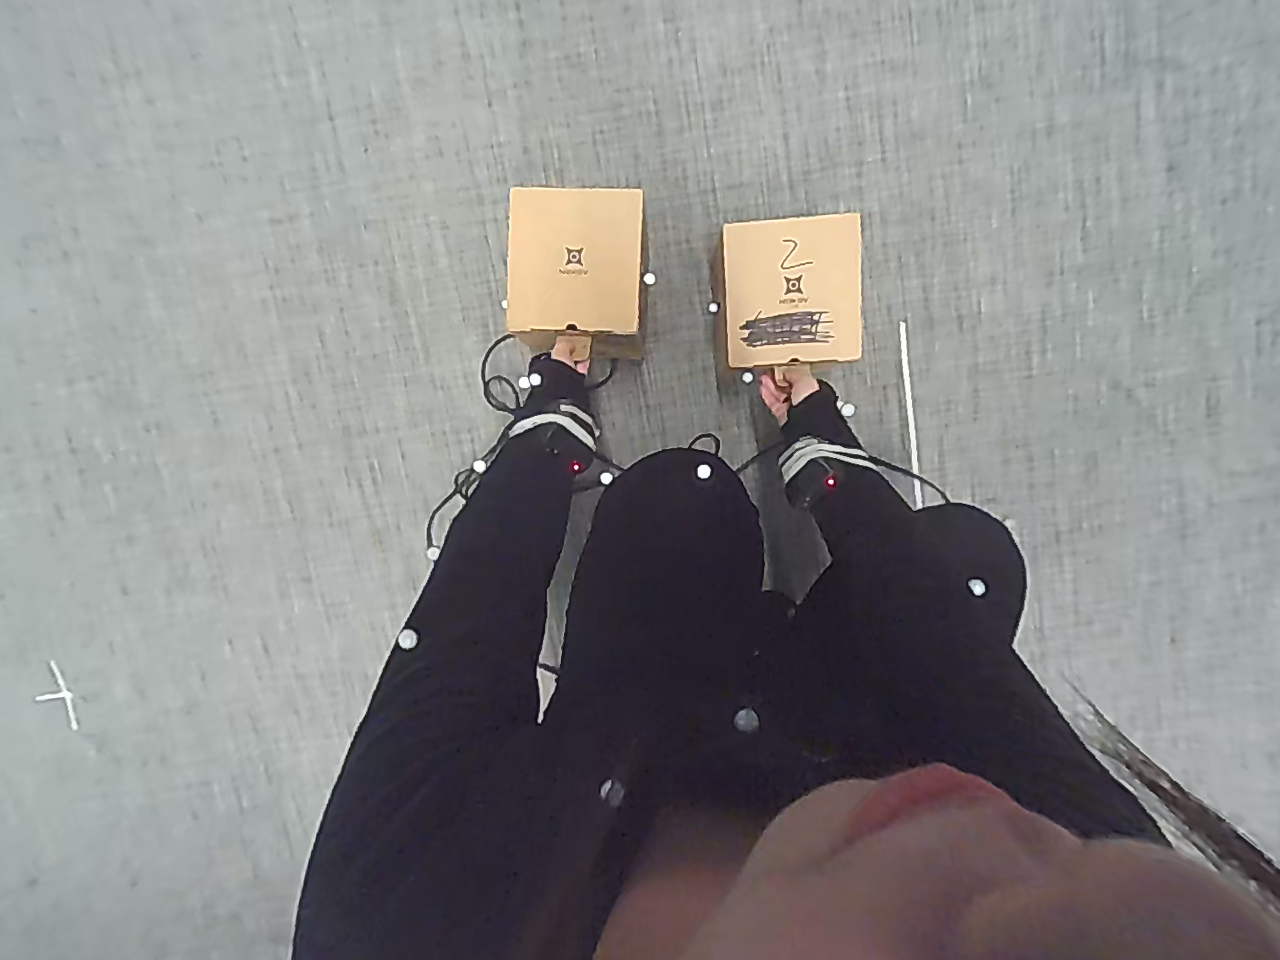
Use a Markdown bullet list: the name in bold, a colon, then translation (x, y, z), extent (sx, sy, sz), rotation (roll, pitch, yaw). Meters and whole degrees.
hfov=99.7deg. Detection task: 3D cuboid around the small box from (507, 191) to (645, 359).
- **small box**: translation (-0.079, -0.272, 0.749), extent (0.168, 0.176, 0.179), rotation (2, 94, 3)
